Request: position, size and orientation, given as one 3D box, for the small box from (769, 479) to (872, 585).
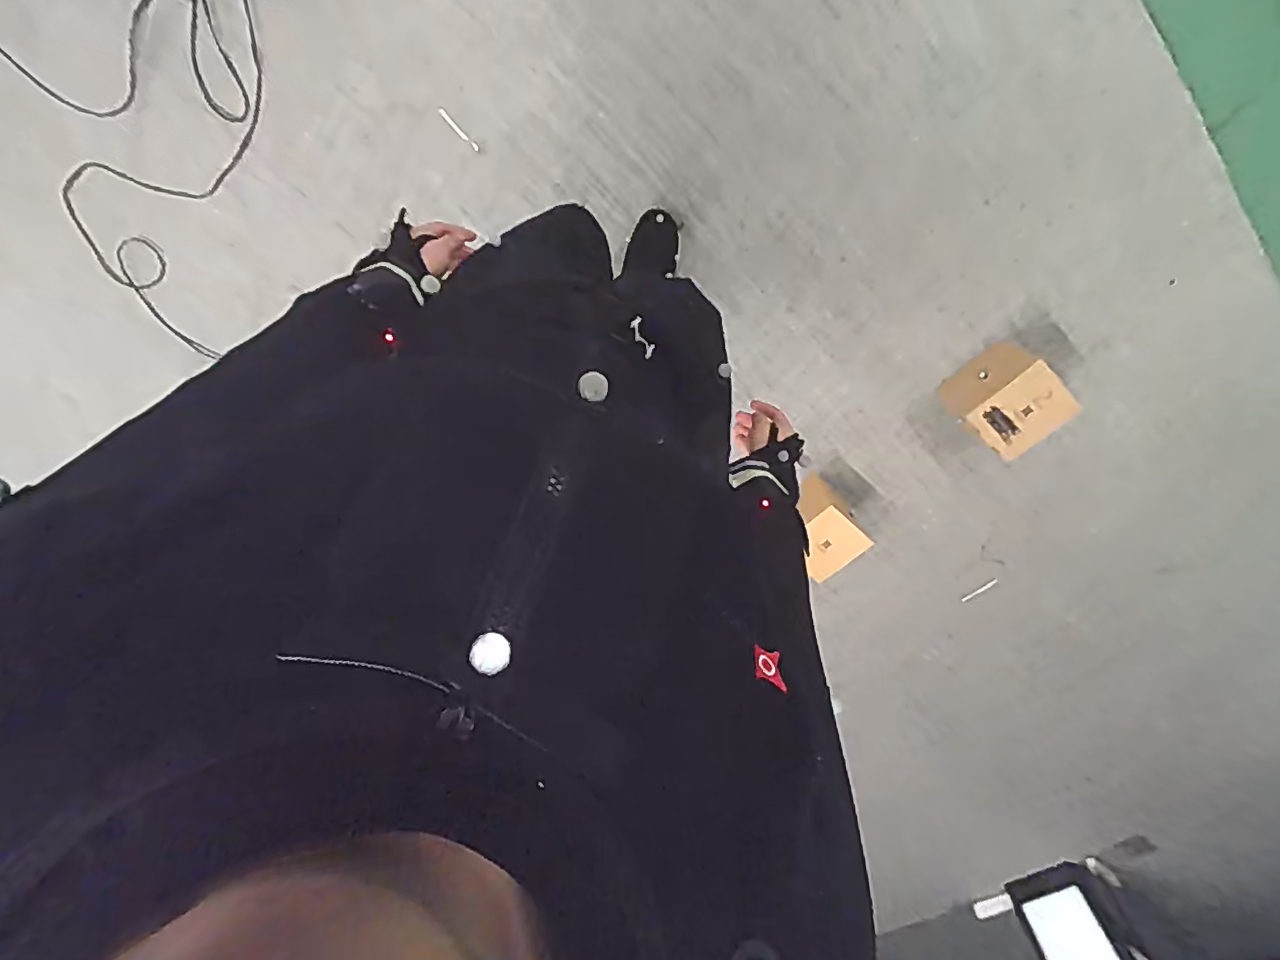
[{"bbox_3d":[0.455,0.128,1.397,0.168,0.176,0.179,39,114,-16],"label":"small box"}]
